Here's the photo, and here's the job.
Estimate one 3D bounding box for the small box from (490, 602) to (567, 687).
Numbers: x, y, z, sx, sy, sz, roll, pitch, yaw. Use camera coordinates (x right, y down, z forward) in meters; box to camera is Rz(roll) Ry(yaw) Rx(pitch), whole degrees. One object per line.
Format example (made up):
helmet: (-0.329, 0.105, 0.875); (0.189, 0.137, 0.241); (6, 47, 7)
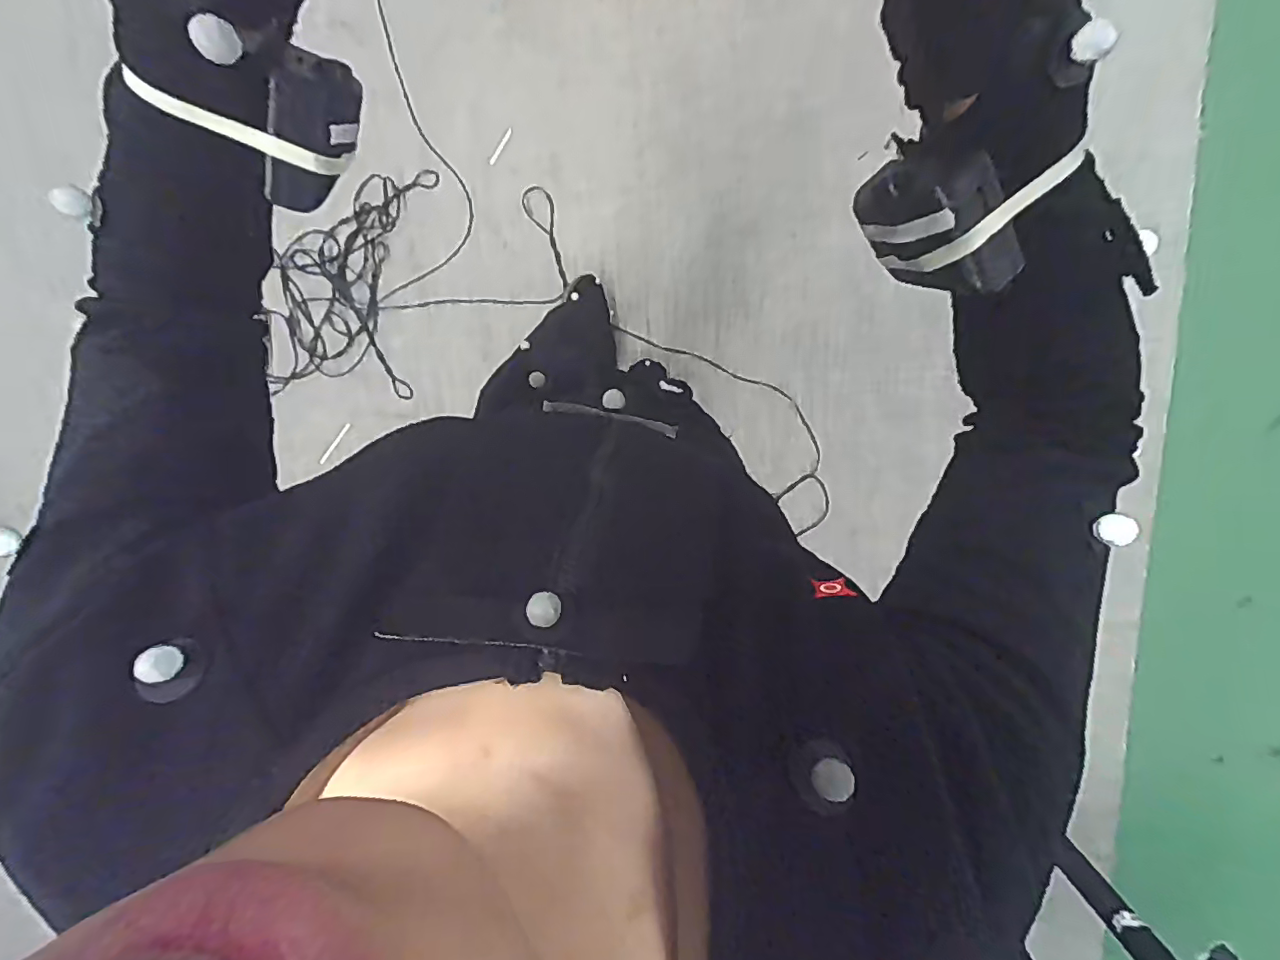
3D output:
small box: (-0.304, 0.450, 1.499); (0.179, 0.176, 0.168); (2, 102, 1)
